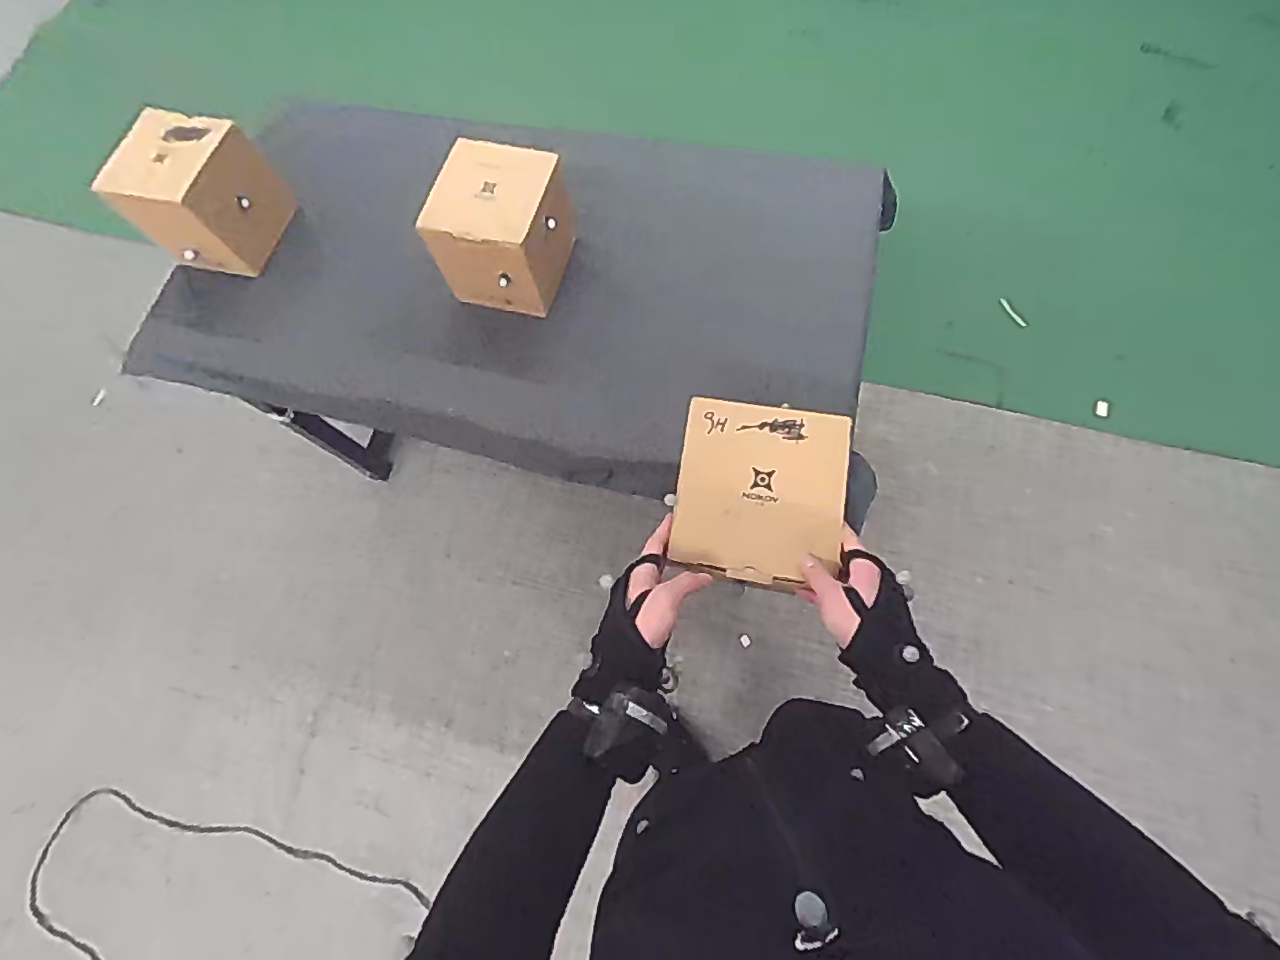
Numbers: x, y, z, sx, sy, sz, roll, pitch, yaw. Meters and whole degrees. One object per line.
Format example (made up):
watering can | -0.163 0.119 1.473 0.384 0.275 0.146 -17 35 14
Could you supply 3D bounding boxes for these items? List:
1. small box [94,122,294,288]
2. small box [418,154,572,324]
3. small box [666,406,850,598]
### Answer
small box | -0.739 -0.463 0.924 0.168 0.176 0.179 12 72 7
small box | -0.217 -0.377 0.868 0.168 0.176 0.179 13 71 7
small box | 0.127 0.034 0.623 0.168 0.176 0.179 9 78 6
